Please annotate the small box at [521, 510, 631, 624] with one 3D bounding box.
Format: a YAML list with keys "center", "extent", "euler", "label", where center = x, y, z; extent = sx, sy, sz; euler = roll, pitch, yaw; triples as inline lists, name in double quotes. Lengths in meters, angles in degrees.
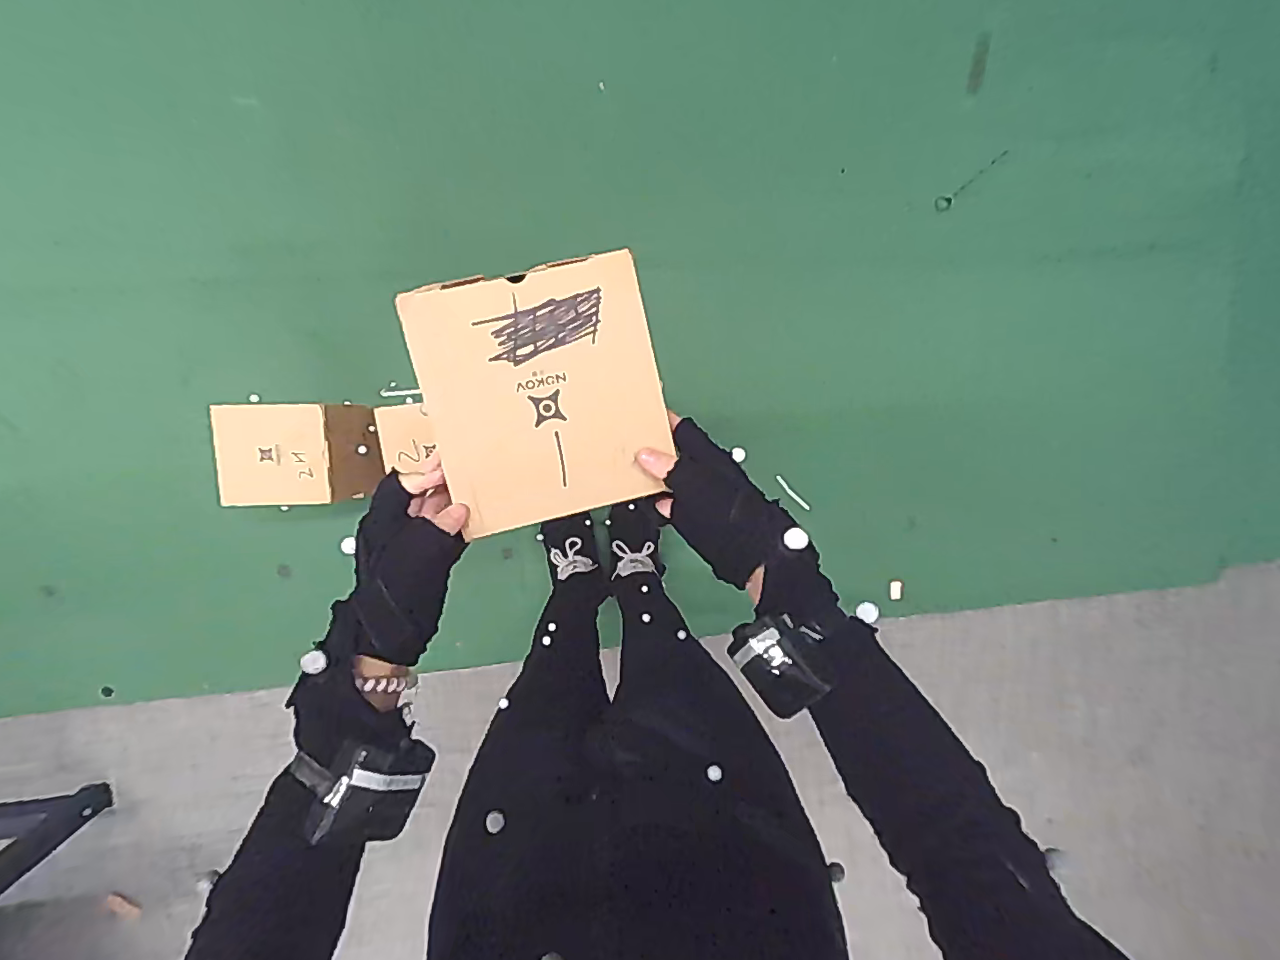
- center: [-0.146, 0.190, 1.216]
  extent: [0.179, 0.176, 0.168]
  euler: [30, 106, 8]
  label: "small box"

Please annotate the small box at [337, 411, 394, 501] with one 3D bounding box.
- center: [-0.625, -0.055, 1.123]
  extent: [0.168, 0.176, 0.179]
  euler: [1, 96, -5]
  label: "small box"

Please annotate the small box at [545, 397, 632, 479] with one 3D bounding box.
- center: [-0.112, -0.094, 1.165]
  extent: [0.179, 0.176, 0.168]
  euler: [-1, 96, -6]
  label: "small box"

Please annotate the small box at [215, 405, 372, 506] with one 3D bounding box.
- center: [-0.602, -0.046, 0.959]
  extent: [0.179, 0.176, 0.168]
  euler: [0, 97, -5]
  label: "small box"
